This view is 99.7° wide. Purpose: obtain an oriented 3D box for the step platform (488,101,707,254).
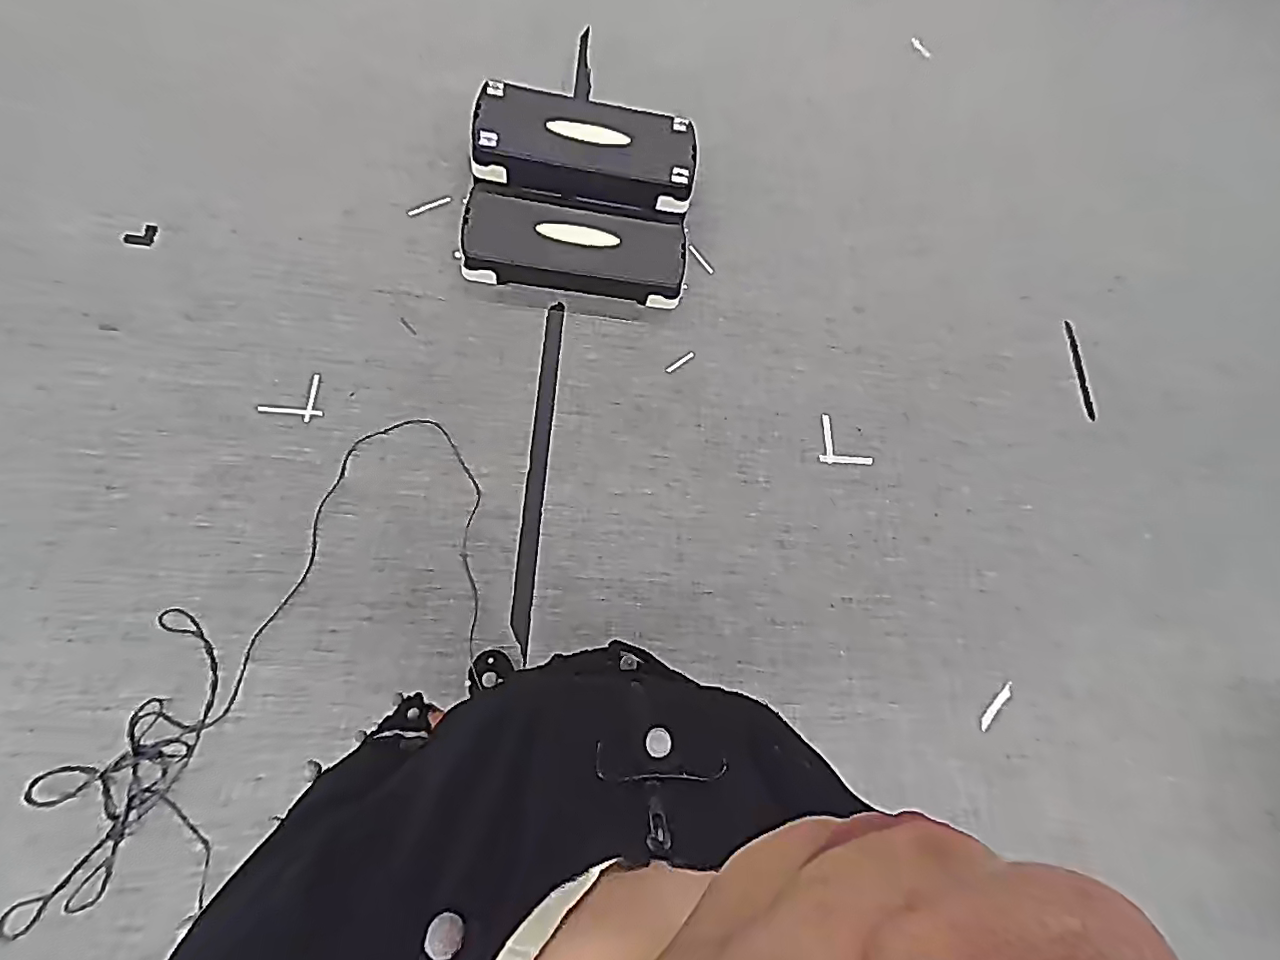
[{"bbox_3d":[-0.129,-0.957,1.724,0.684,0.204,0.286,10,70,-7],"label":"step platform"}]
